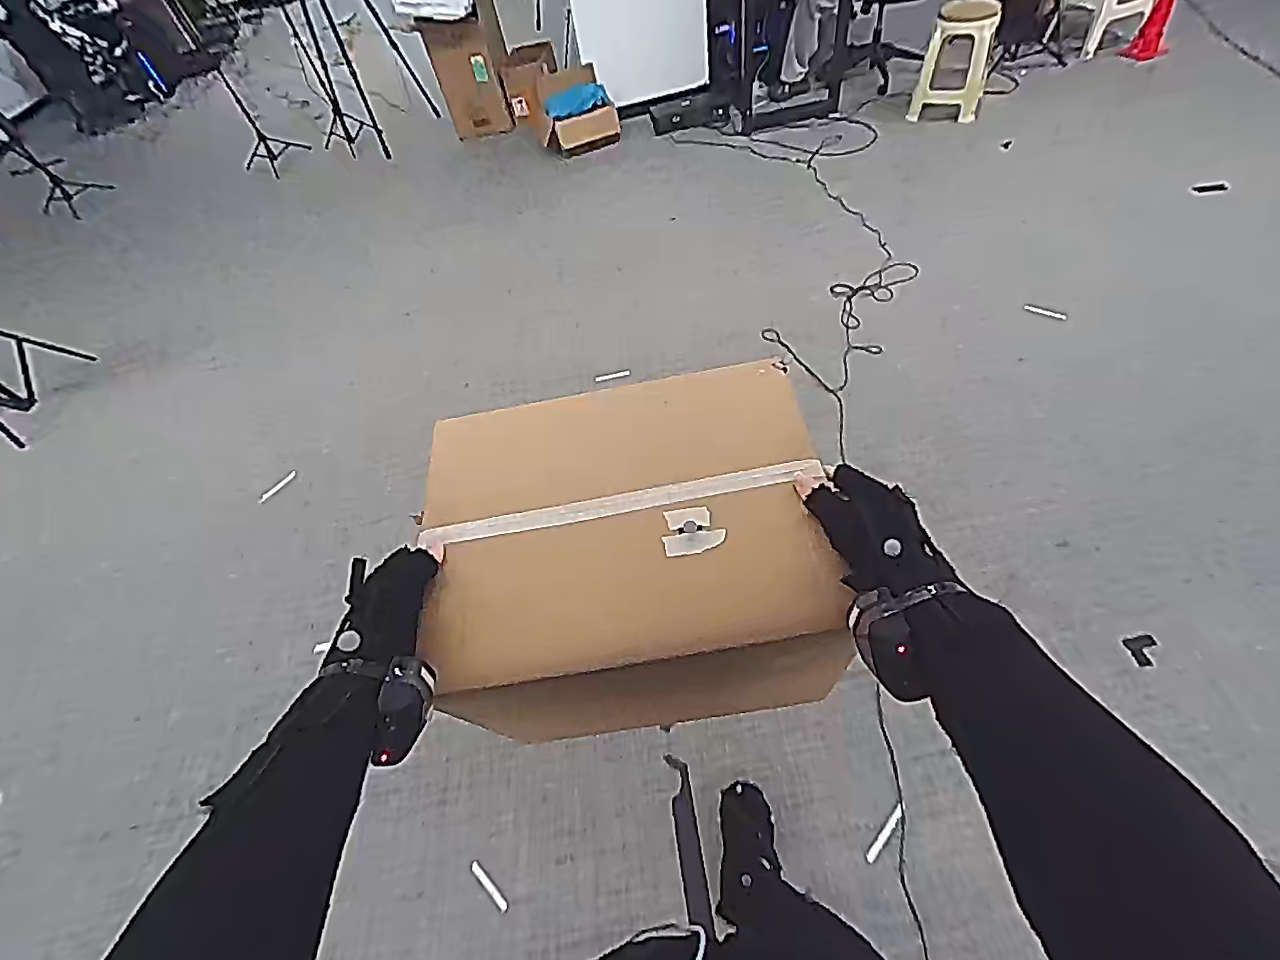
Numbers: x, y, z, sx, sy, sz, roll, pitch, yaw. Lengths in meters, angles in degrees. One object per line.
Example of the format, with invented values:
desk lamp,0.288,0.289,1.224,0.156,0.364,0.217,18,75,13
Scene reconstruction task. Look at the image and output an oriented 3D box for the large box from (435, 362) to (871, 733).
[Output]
large box,0.007,0.102,0.681,0.408,0.320,0.320,-10,57,2
